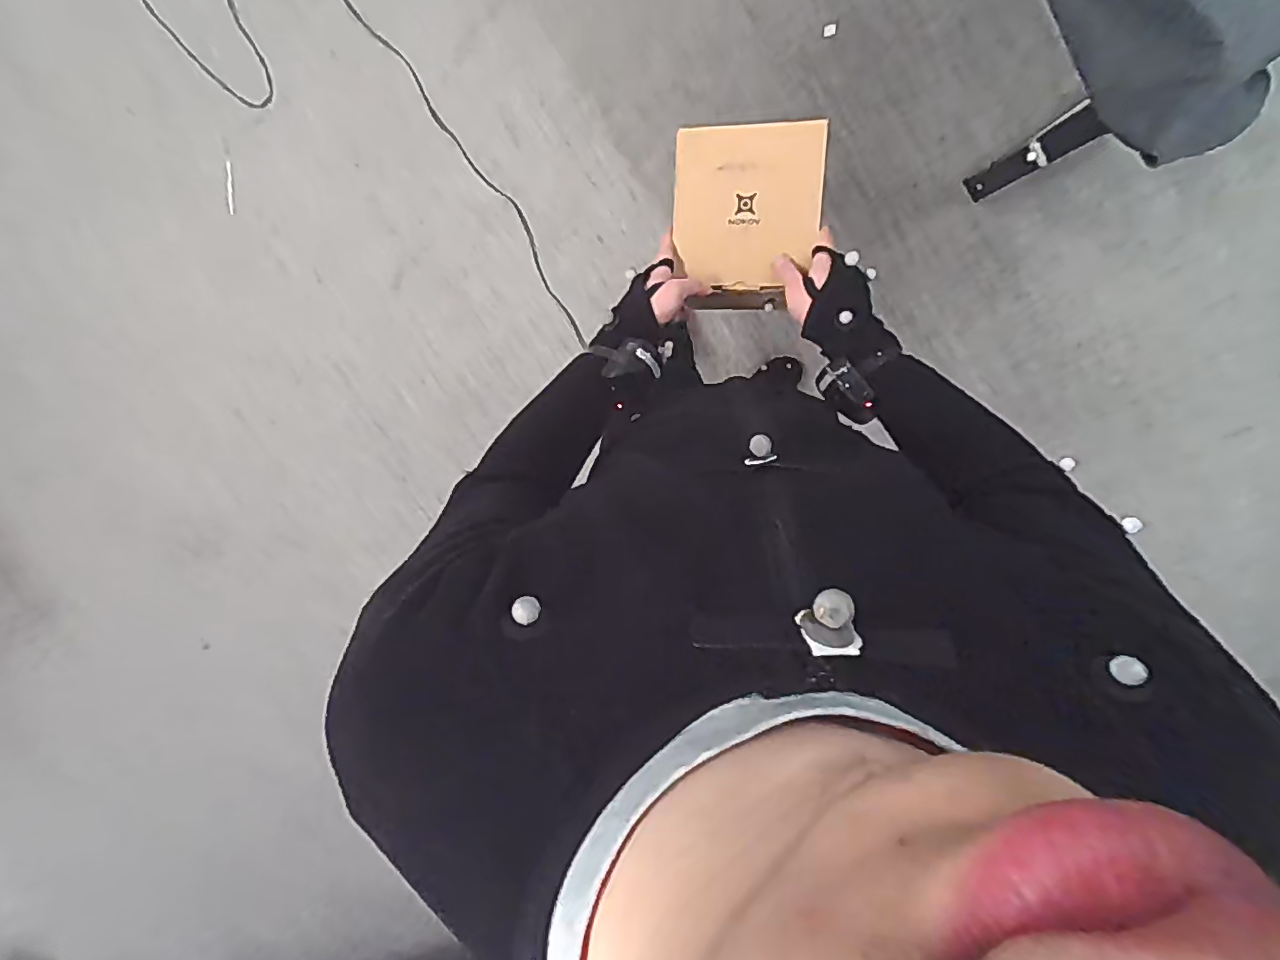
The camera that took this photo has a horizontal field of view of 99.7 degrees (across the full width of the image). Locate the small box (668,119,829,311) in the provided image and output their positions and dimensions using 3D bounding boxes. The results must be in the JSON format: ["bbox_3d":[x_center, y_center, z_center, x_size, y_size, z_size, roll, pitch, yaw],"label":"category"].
[{"bbox_3d":[0.131,-0.311,0.672,0.168,0.176,0.179,3,99,10],"label":"small box"}]
